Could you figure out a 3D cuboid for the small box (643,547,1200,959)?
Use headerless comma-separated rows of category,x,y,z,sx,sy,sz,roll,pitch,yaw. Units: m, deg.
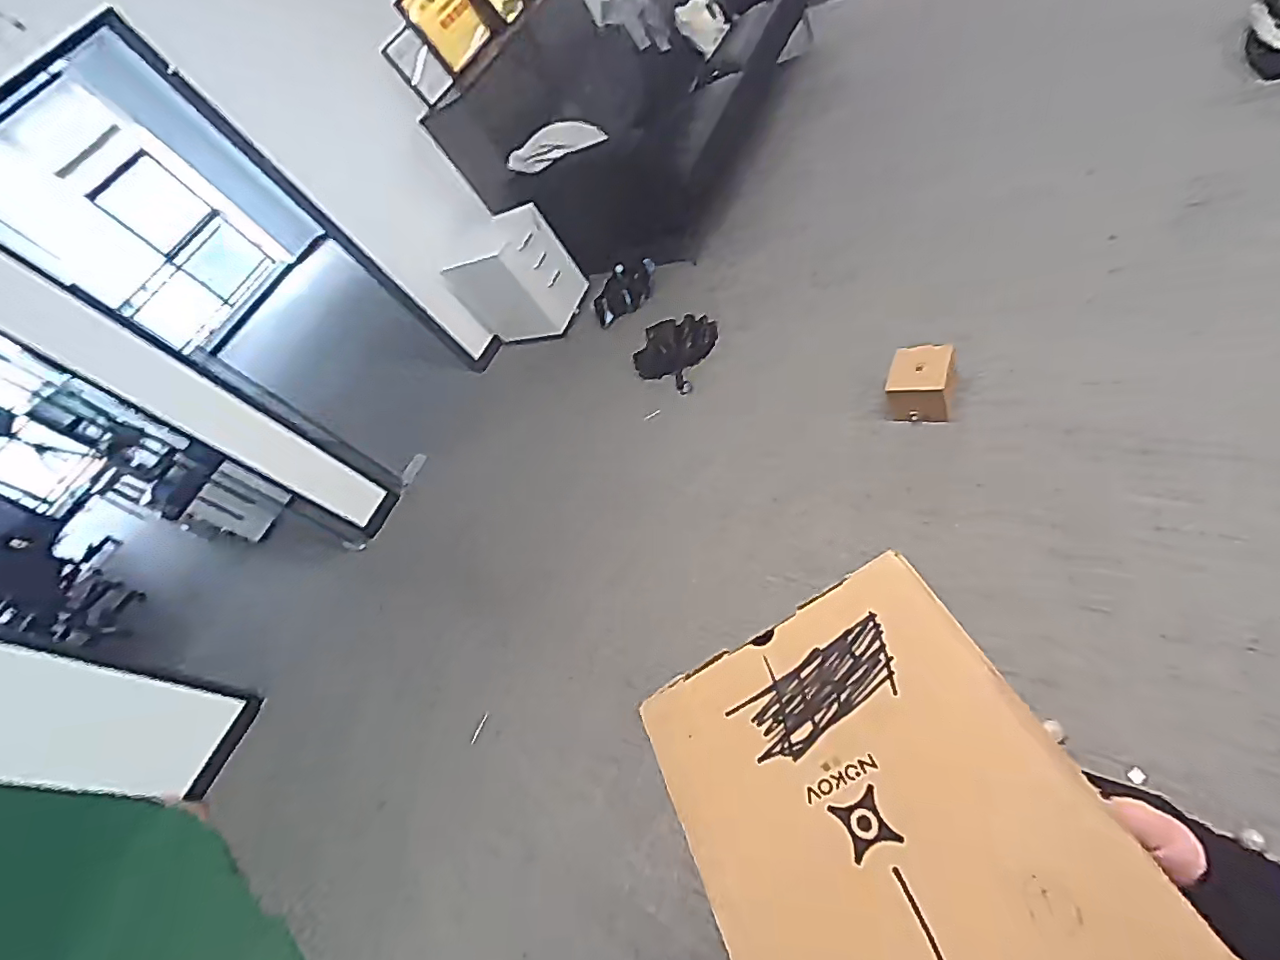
small box,0.132,0.173,0.309,0.168,0.176,0.179,-35,51,11

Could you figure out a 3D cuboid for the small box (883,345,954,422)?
small box,0.891,-0.305,1.722,0.168,0.176,0.179,5,63,39
